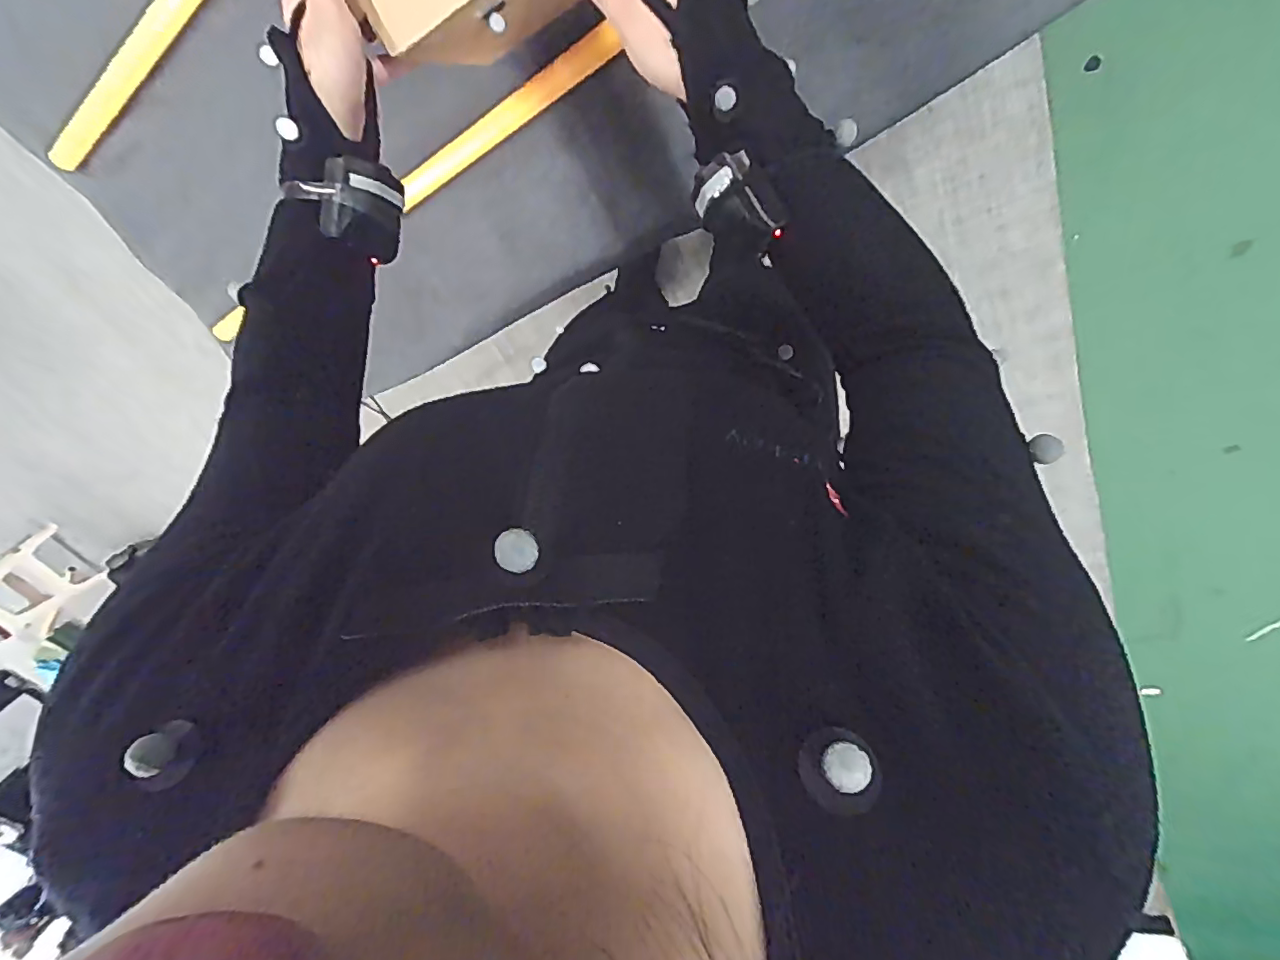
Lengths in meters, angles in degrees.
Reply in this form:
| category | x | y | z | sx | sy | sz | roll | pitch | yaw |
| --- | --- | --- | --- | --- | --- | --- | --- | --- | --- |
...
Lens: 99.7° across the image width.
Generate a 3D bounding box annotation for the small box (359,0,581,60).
| category | x | y | z | sx | sy | sz | roll | pitch | yaw |
| --- | --- | --- | --- | --- | --- | --- | --- | --- | --- |
| small box | -0.125 | -0.442 | 0.397 | 0.179 | 0.176 | 0.168 | -15 | 122 | 24 |
